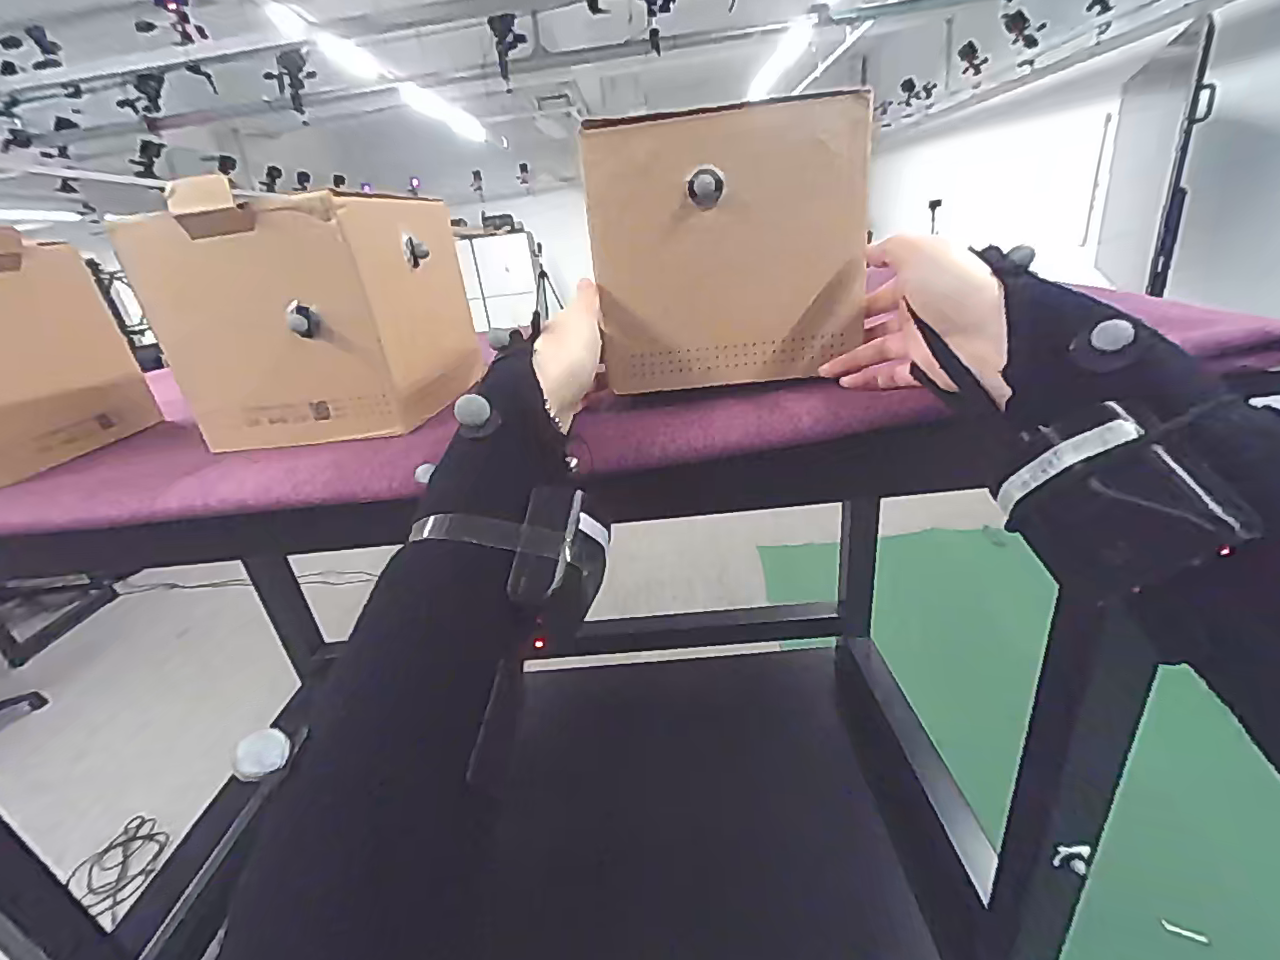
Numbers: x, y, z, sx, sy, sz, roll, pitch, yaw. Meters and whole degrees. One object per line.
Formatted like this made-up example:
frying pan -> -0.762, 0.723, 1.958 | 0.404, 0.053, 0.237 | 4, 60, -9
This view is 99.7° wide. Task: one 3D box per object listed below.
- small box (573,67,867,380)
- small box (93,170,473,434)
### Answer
small box -> 0.059, -0.175, 0.413 | 0.179, 0.176, 0.168 | -4, 20, 5
small box -> -0.255, -0.140, 0.444 | 0.168, 0.176, 0.179 | -4, 24, 6
